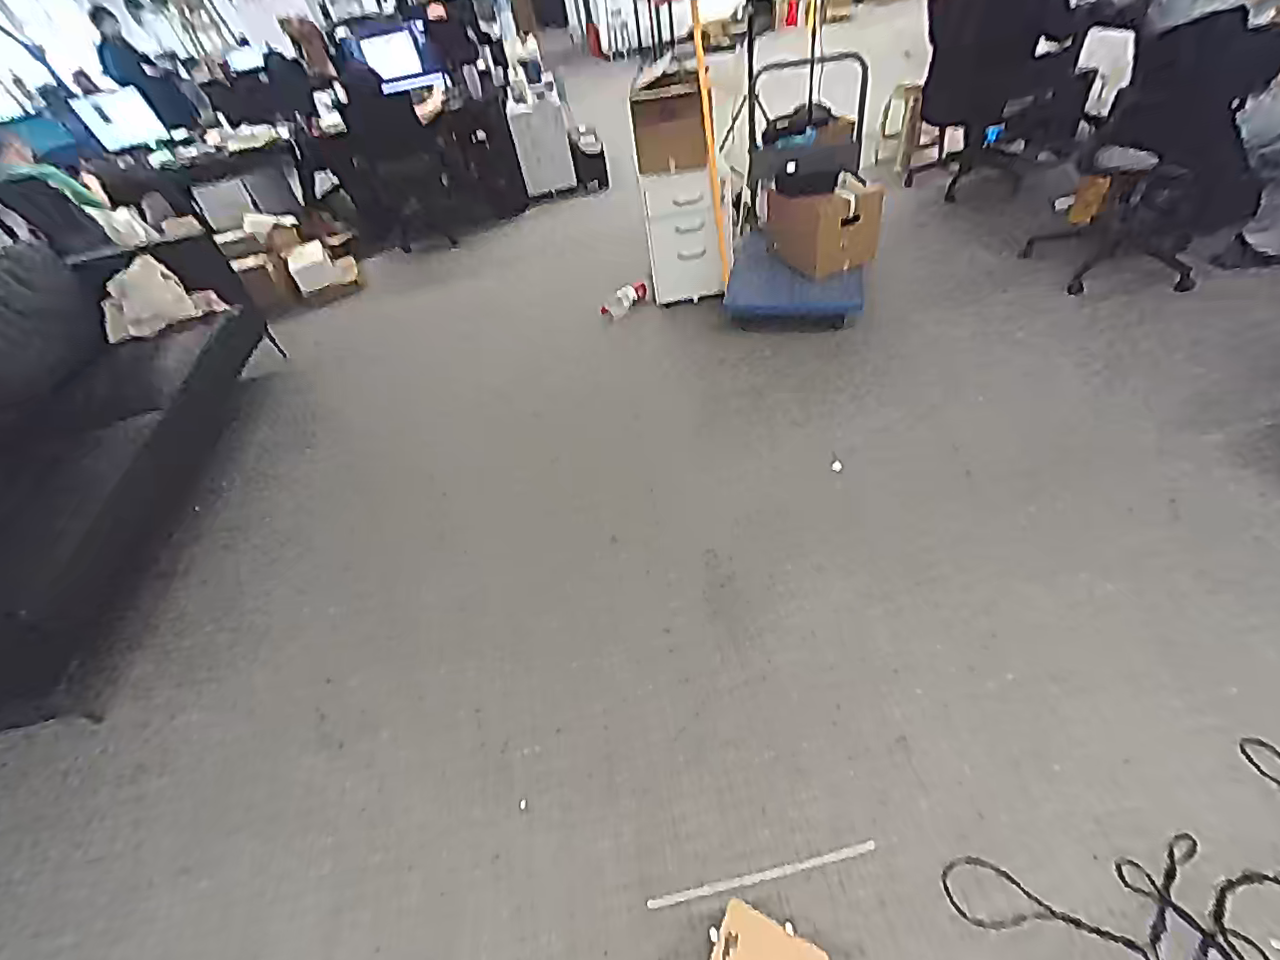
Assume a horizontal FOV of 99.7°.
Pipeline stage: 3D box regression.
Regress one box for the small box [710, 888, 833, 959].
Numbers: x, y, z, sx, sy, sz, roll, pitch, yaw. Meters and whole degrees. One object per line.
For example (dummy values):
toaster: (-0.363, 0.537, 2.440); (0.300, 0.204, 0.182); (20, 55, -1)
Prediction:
small box: (0.219, 0.854, 0.937); (0.179, 0.176, 0.168); (16, 52, 26)
